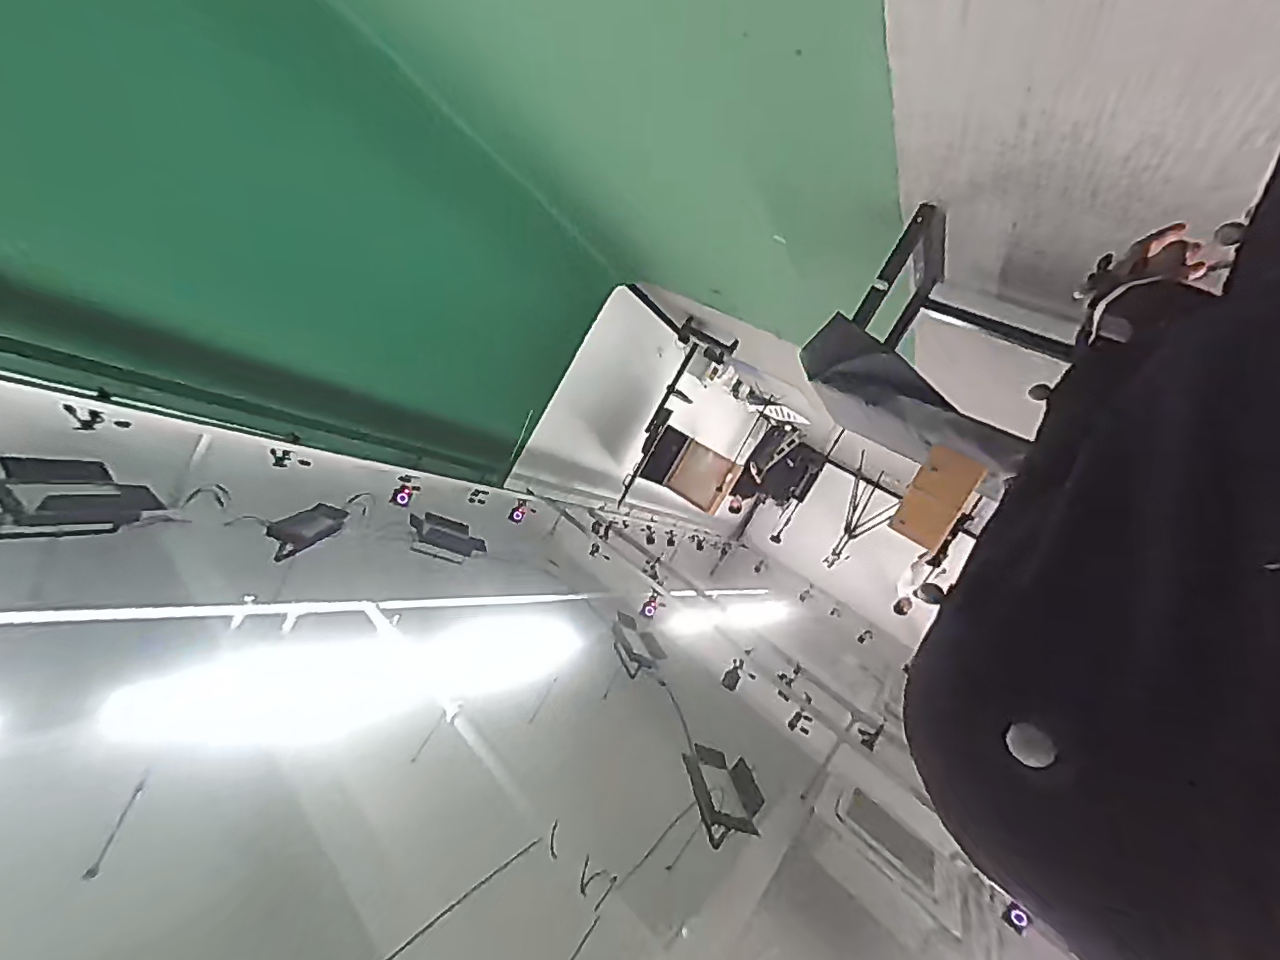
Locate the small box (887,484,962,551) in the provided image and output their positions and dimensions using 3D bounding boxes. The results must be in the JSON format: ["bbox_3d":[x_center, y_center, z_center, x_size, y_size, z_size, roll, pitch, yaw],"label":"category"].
[{"bbox_3d":[0.996,0.132,1.890,0.179,0.176,0.168,35,-171,28],"label":"small box"}]

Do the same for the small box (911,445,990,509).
[{"bbox_3d":[1.069,-0.012,1.870,0.179,0.176,0.168,33,-172,30],"label":"small box"}]
